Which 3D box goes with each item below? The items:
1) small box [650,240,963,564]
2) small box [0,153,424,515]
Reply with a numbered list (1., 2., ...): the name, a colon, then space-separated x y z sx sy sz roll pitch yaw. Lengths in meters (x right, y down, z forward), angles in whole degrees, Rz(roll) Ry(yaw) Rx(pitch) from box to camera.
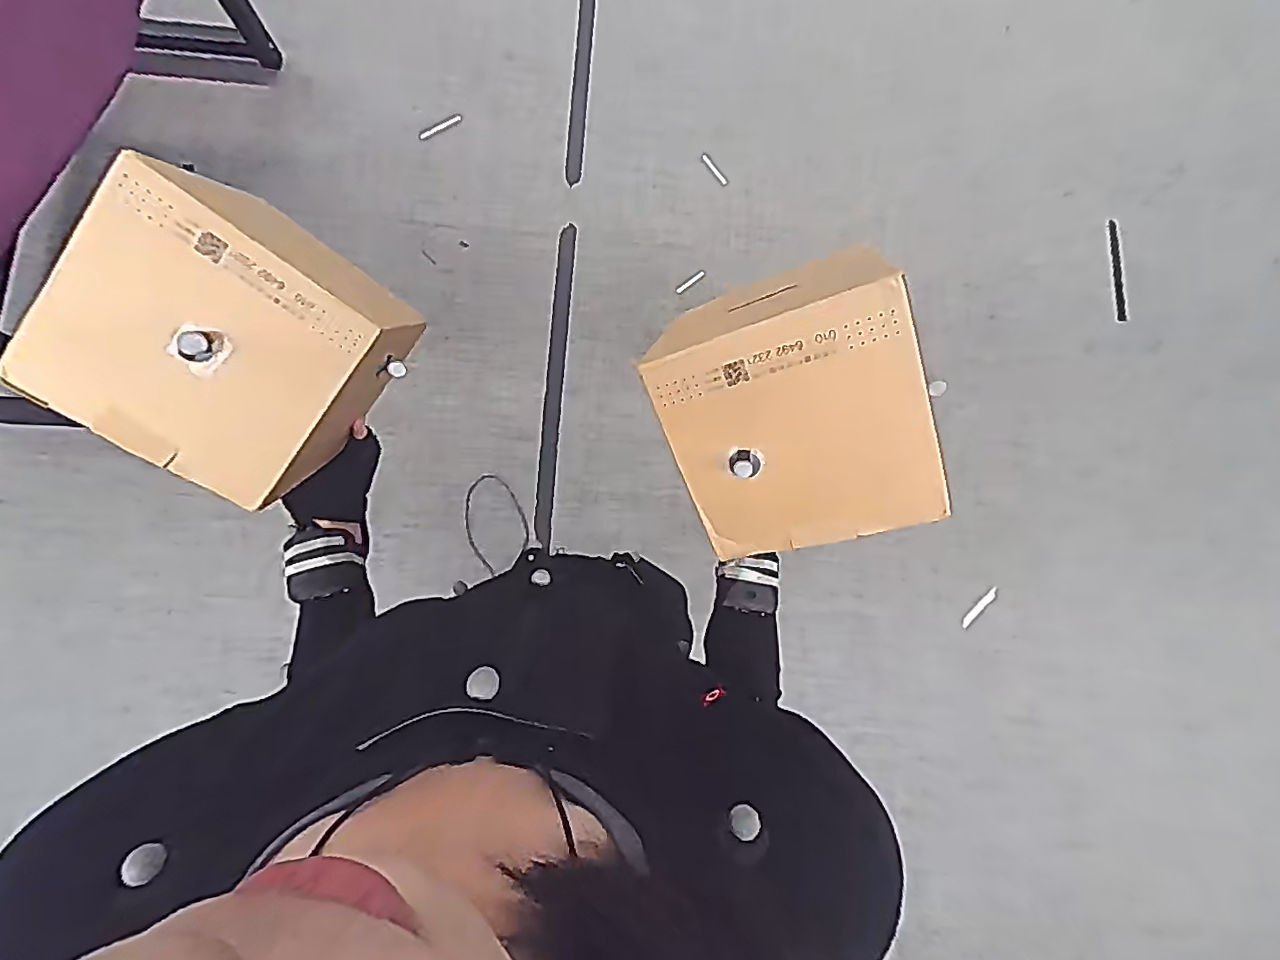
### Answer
1. small box: 0.123 -0.065 0.414 0.168 0.179 0.176 -14 114 23
2. small box: -0.294 -0.108 0.411 0.168 0.179 0.176 37 98 -19
